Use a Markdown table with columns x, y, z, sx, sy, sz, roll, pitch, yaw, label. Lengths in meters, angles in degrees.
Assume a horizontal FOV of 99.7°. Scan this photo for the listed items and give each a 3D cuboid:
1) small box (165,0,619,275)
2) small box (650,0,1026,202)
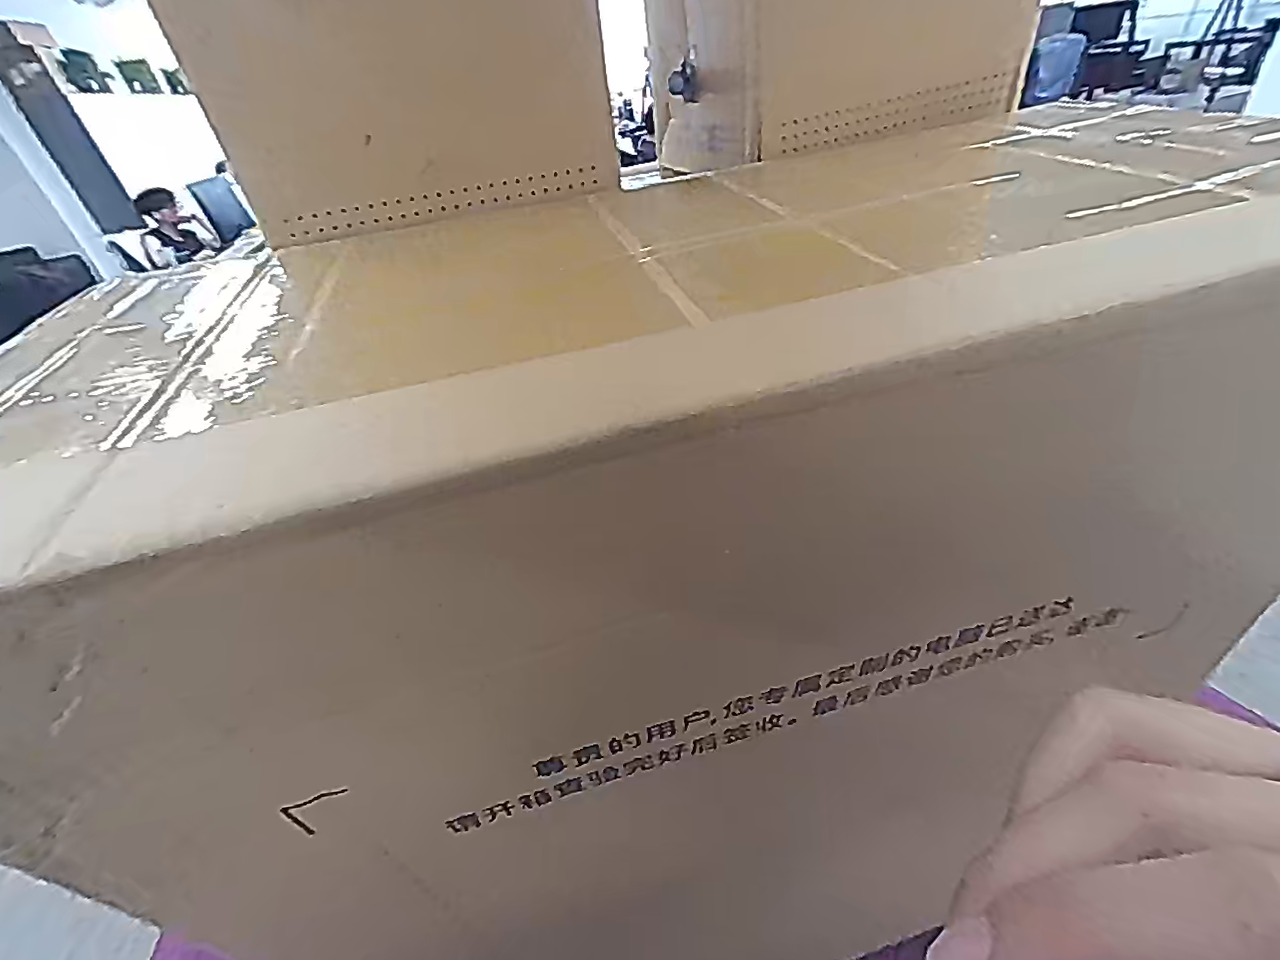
| x | y | z | sx | sy | sz | roll | pitch | yaw | label |
| --- | --- | --- | --- | --- | --- | --- | --- | --- | --- |
| -0.121 | -0.223 | 0.292 | 0.179 | 0.176 | 0.168 | -14 | 38 | -9 | small box |
| 0.110 | -0.291 | 0.334 | 0.179 | 0.176 | 0.168 | -19 | 38 | -10 | small box |
